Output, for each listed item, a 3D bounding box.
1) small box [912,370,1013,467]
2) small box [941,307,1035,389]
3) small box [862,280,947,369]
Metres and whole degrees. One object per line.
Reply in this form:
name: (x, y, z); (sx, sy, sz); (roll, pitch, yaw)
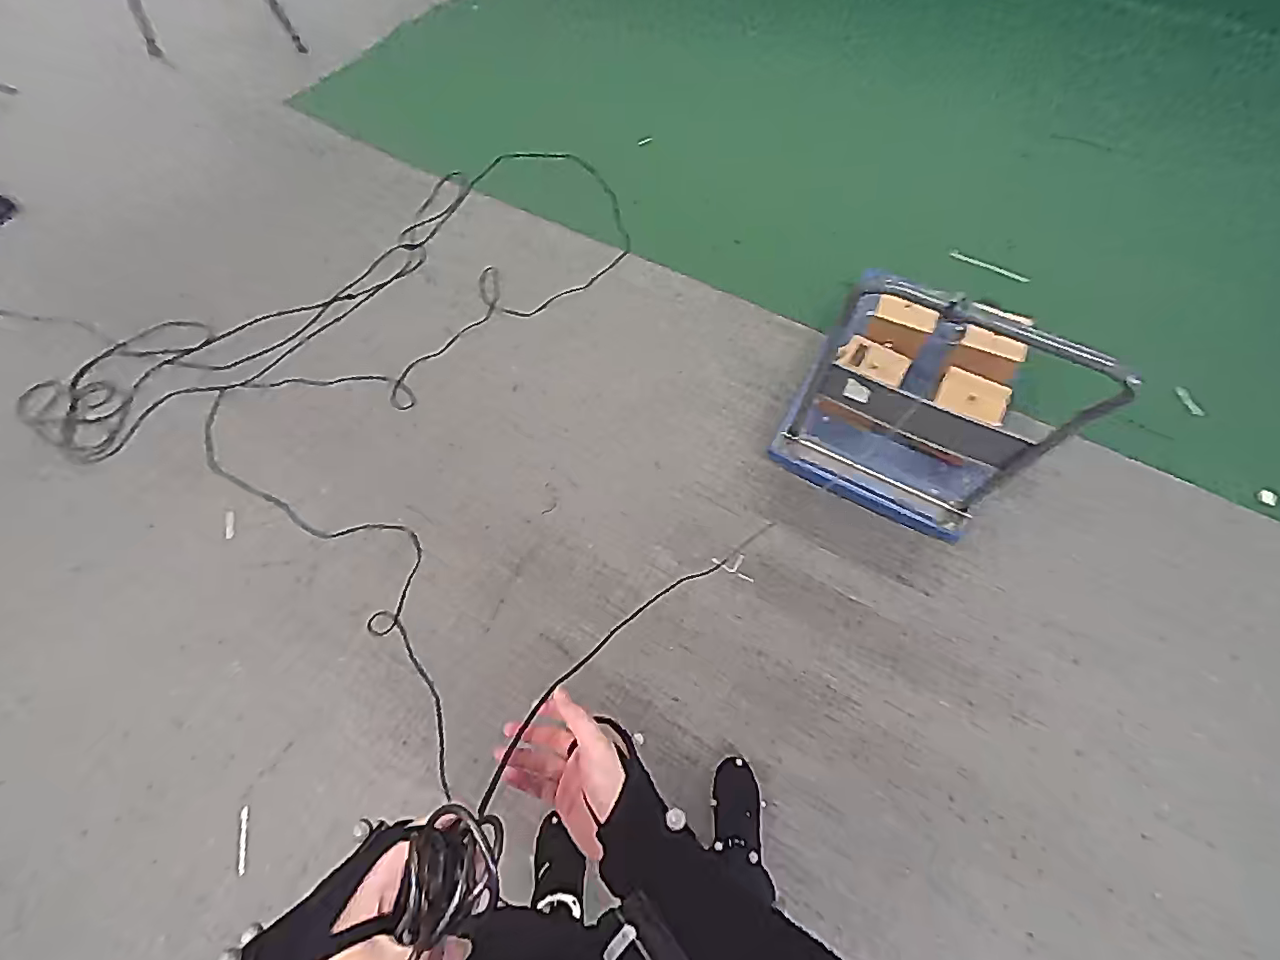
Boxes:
small box: (0.898, -0.169, 1.519); (0.168, 0.176, 0.179); (29, 68, 15)
small box: (1.037, -0.377, 1.621); (0.168, 0.176, 0.179); (24, 67, 14)
small box: (0.812, -0.476, 1.677); (0.168, 0.176, 0.179); (24, 66, 12)
